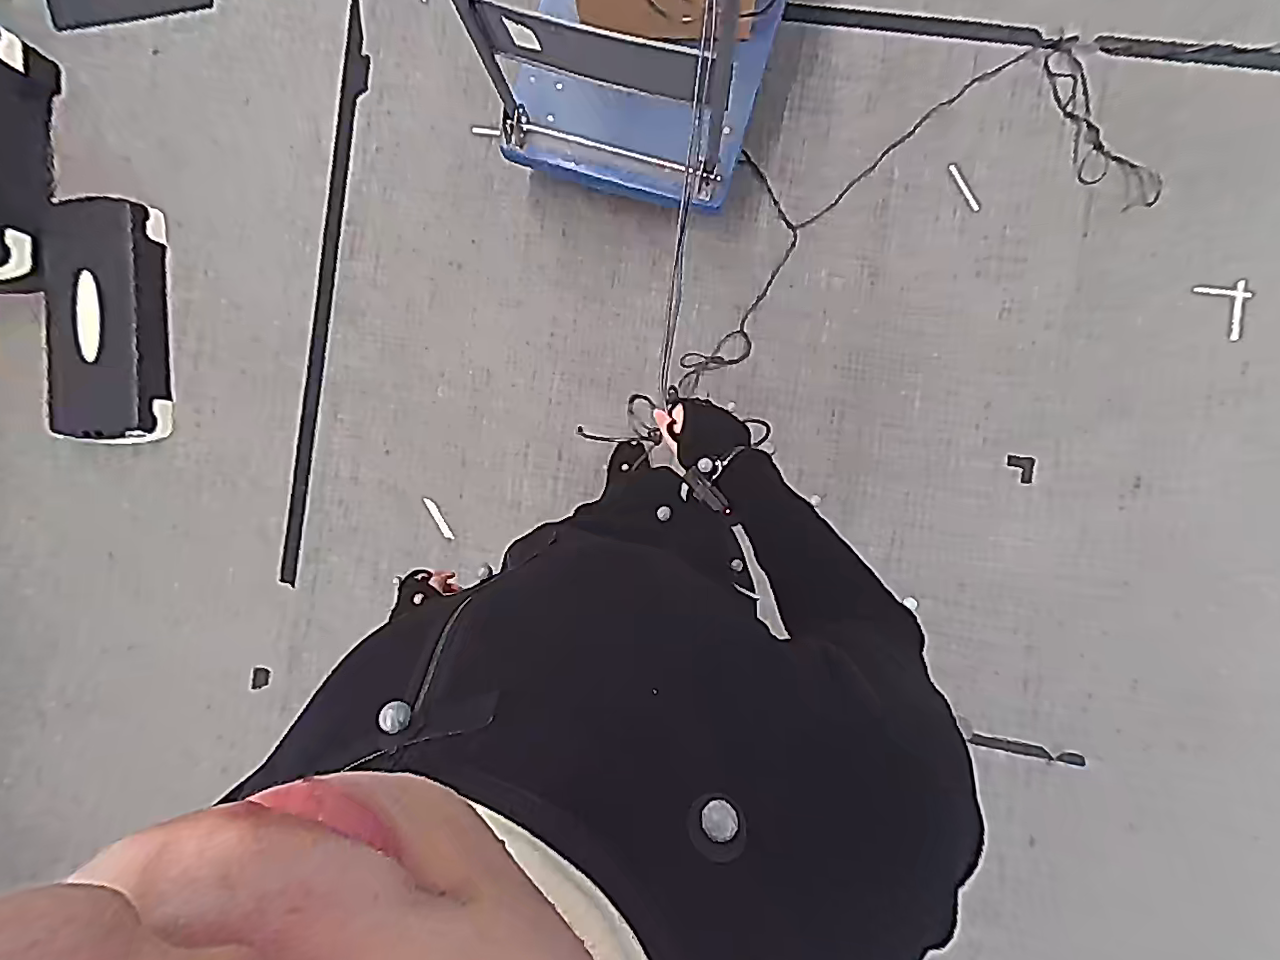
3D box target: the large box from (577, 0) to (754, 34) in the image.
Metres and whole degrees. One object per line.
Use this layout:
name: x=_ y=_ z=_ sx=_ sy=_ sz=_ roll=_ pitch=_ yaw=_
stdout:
large box: x=0.056 y=-1.211 z=1.136 sx=0.408 sy=0.320 sz=0.320 roll=3 pitch=91 yaw=3
